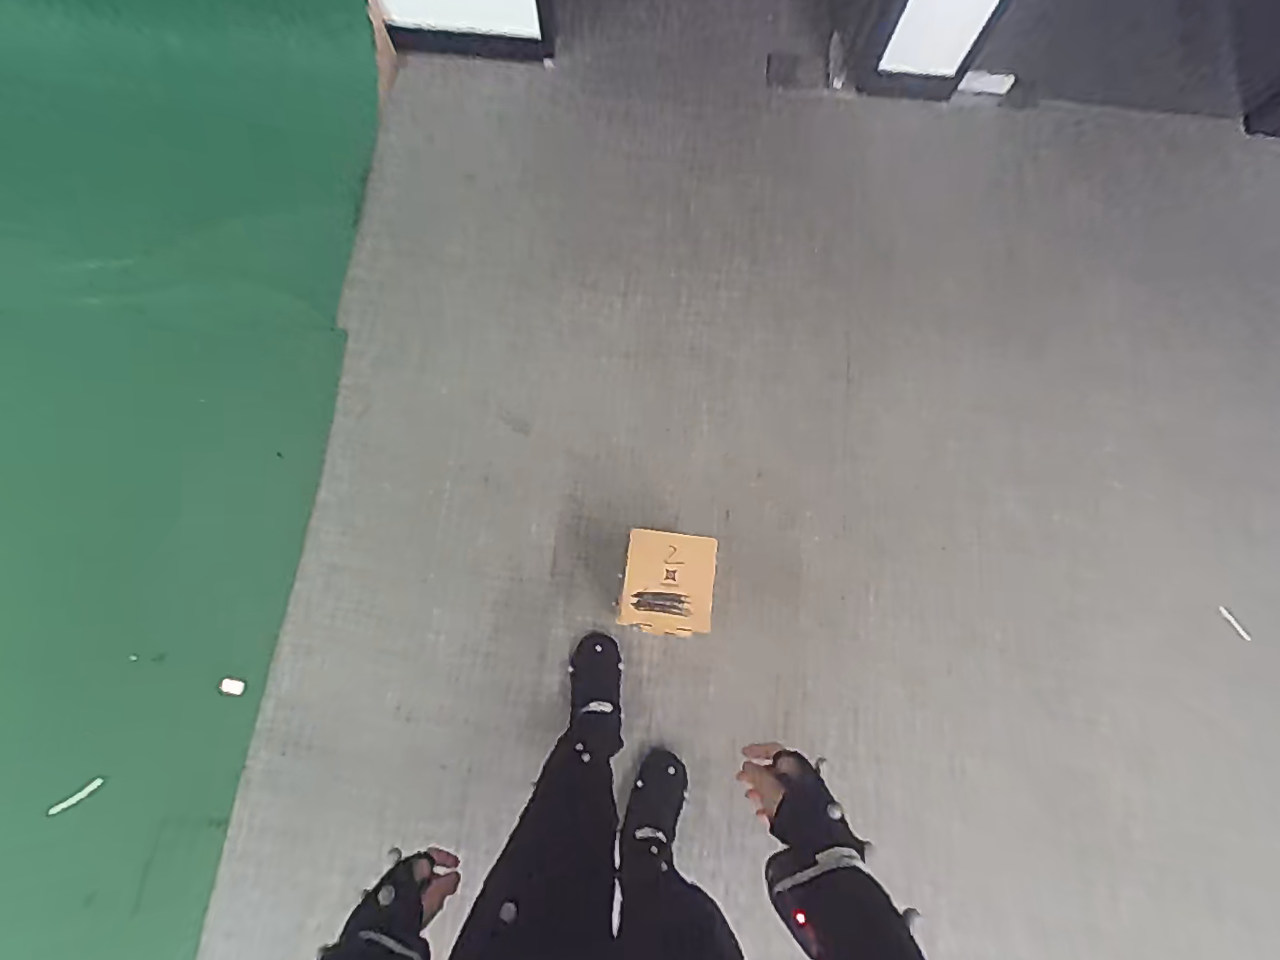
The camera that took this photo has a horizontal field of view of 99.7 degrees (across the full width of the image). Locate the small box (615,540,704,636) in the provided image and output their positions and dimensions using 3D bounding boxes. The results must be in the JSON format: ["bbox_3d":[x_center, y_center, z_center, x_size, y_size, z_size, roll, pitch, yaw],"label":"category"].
[{"bbox_3d":[0.040,0.247,1.238,0.168,0.176,0.179,12,78,1],"label":"small box"}]
